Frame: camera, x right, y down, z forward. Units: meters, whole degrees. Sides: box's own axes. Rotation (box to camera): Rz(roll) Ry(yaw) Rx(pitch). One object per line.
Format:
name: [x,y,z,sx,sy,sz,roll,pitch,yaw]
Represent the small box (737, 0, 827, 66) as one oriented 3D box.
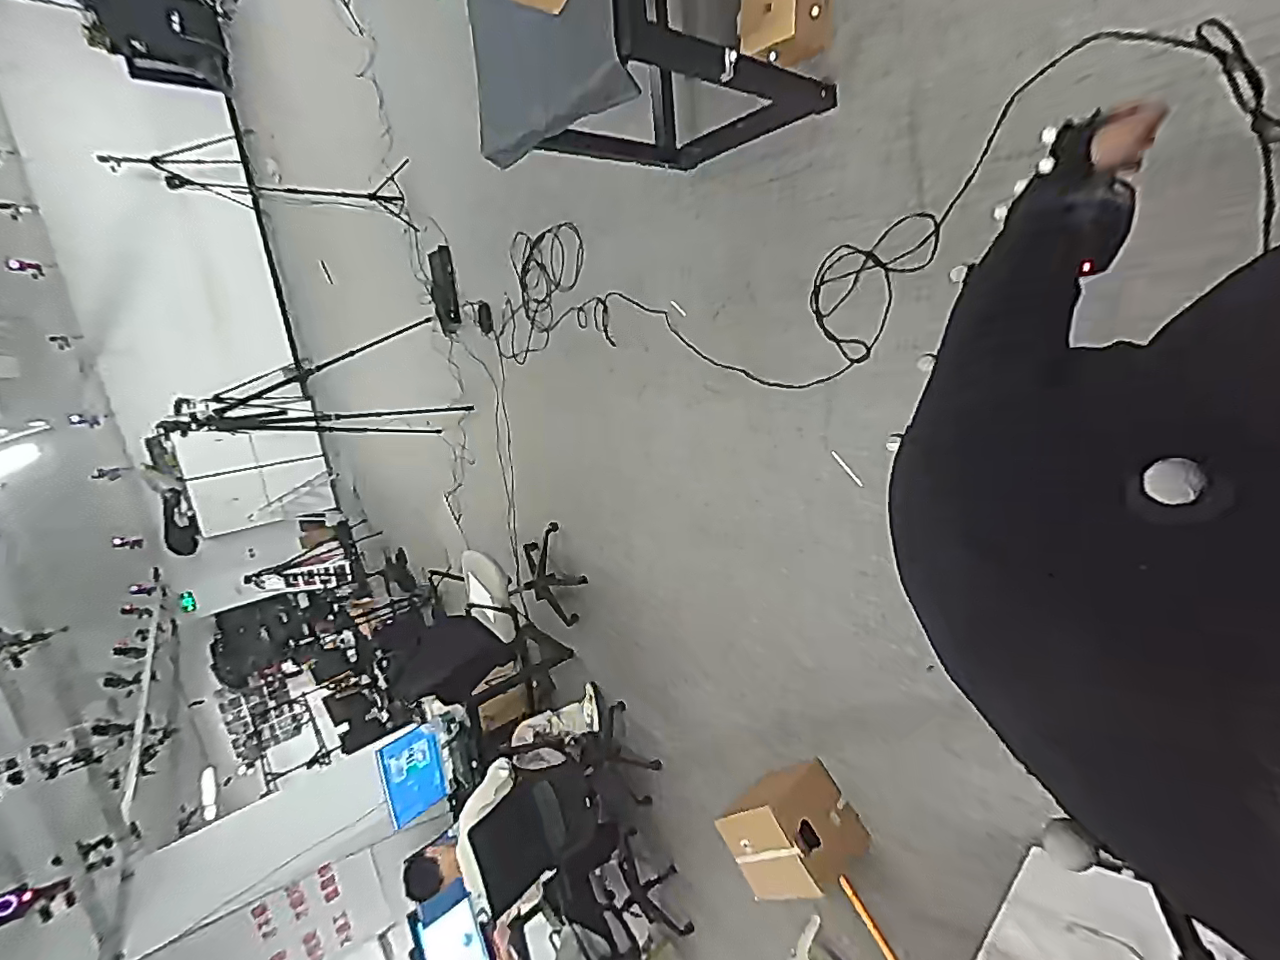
small box: [0.373,-1.217,1.410,0.179,0.176,0.168,18,119,47]
